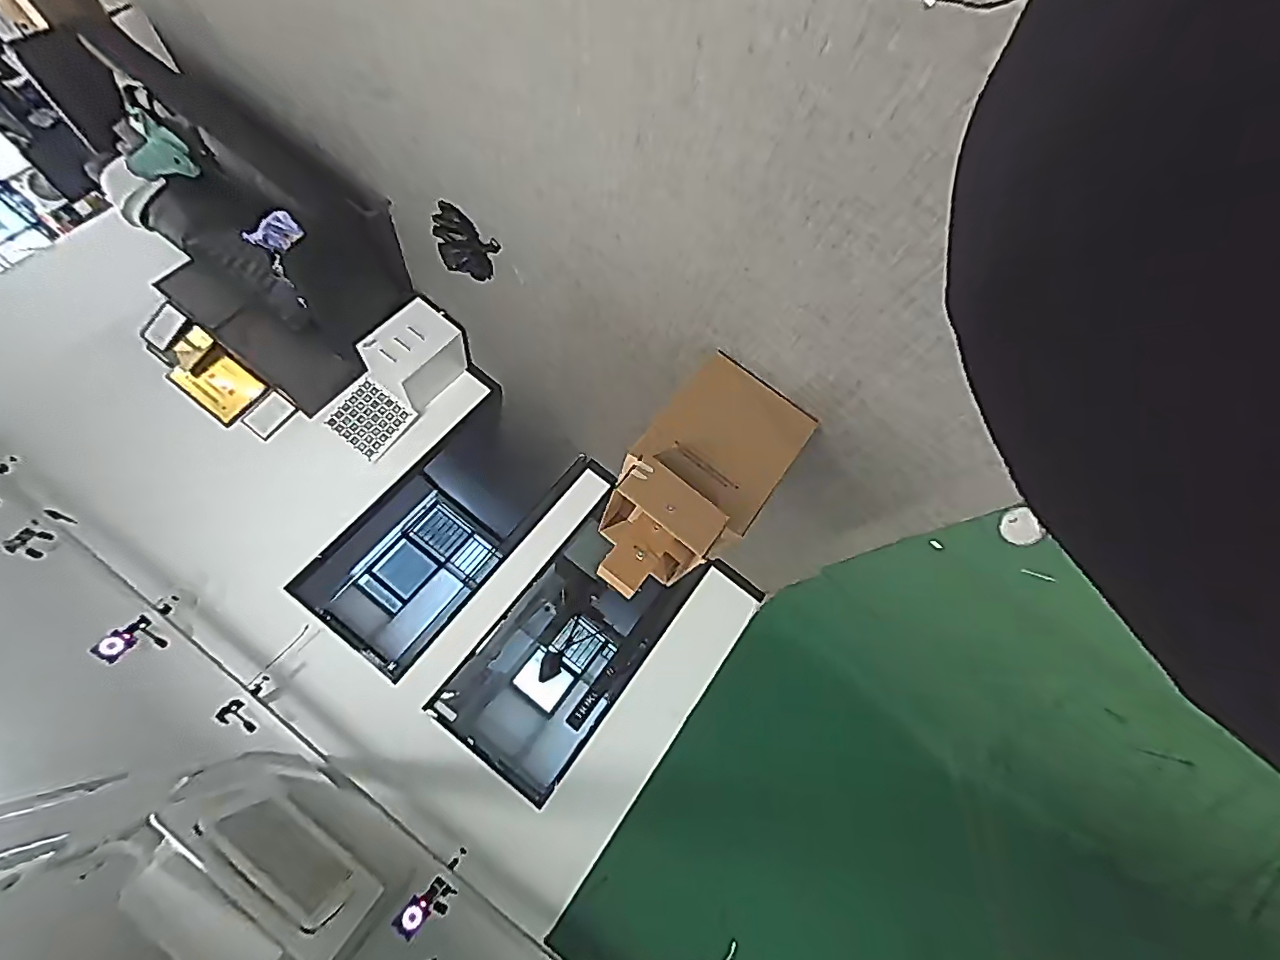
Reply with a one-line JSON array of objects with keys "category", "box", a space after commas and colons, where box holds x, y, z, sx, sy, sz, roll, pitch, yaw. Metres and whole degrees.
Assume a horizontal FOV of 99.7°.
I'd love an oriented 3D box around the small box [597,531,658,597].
[{"category": "small box", "box": [-0.047, 0.323, 2.088, 0.168, 0.176, 0.179, 36, 158, 7]}]
